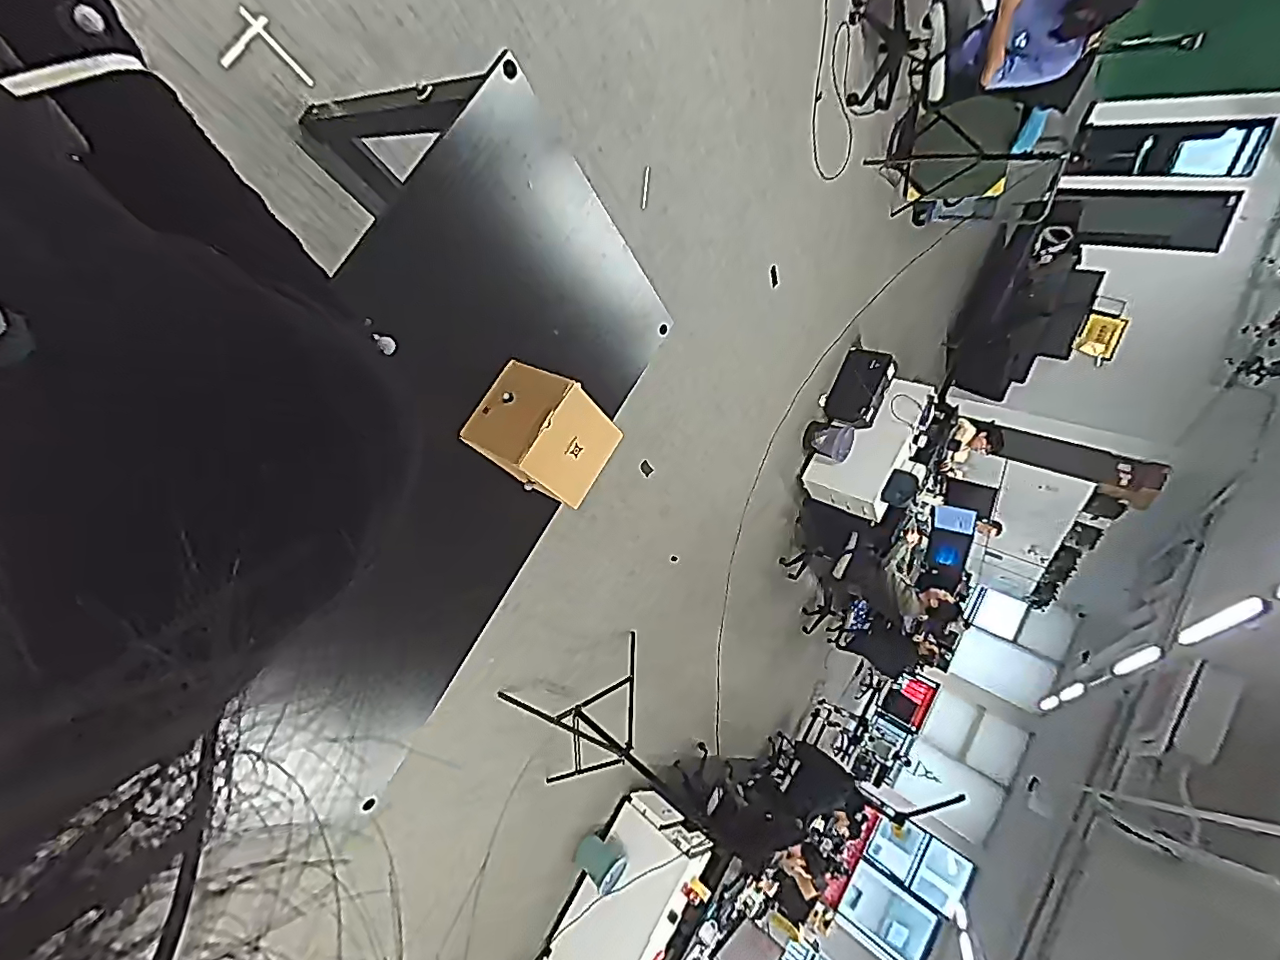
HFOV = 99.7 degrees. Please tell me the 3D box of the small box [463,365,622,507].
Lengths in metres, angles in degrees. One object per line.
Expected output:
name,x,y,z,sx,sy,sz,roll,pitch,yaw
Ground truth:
small box,-0.170,-0.082,0.954,0.168,0.176,0.179,-59,143,-10
